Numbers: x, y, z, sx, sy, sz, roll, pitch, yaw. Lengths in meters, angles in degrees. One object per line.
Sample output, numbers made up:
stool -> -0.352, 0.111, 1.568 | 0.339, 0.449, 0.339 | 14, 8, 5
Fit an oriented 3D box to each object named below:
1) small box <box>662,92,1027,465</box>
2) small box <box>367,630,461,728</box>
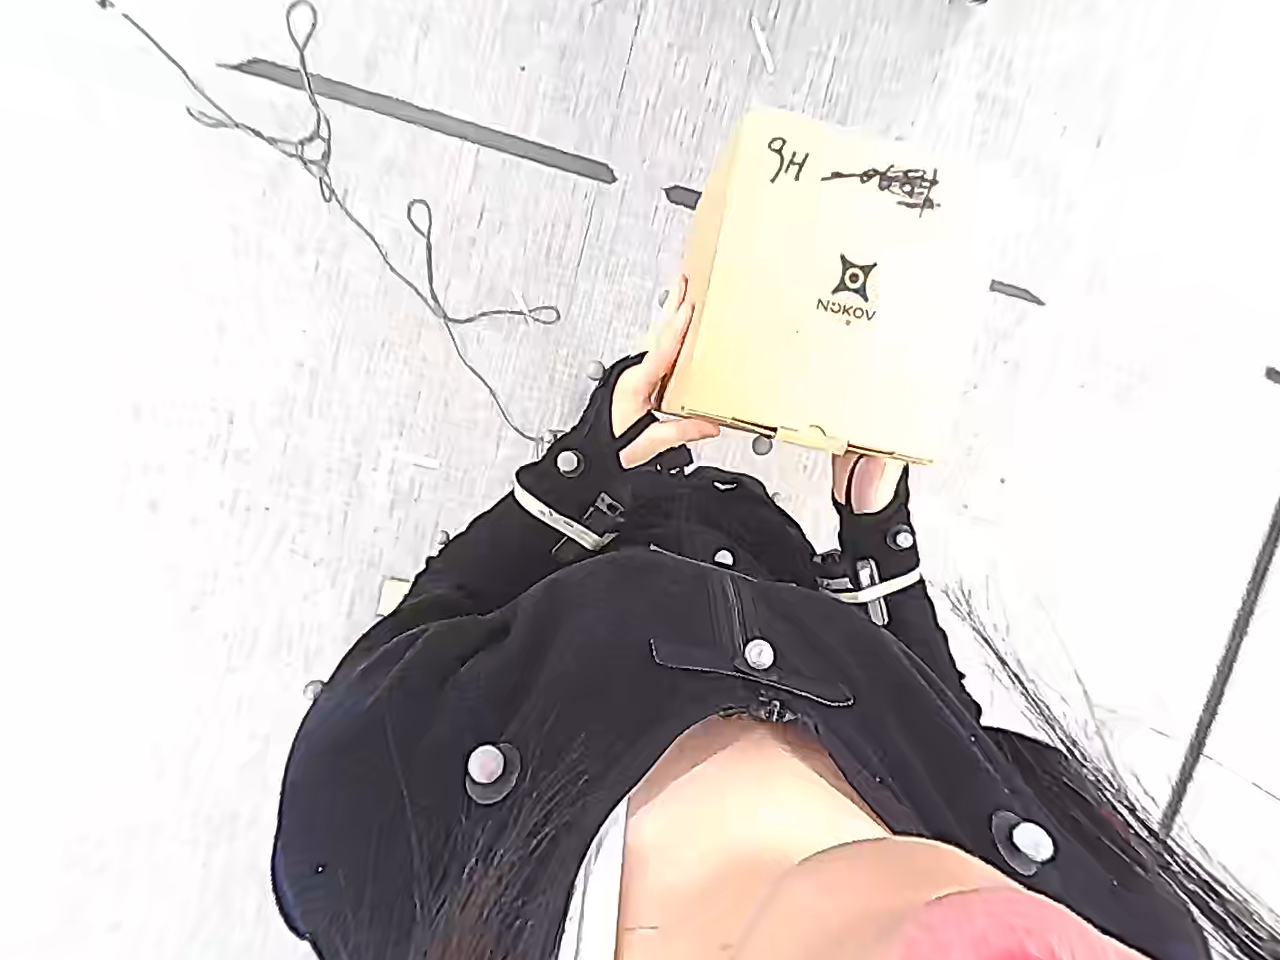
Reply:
small box -> 0.117, -0.119, 0.387 | 0.168, 0.176, 0.179 | 11, 96, -7
small box -> -0.583, 0.512, 1.417 | 0.168, 0.176, 0.179 | 11, 95, -2
